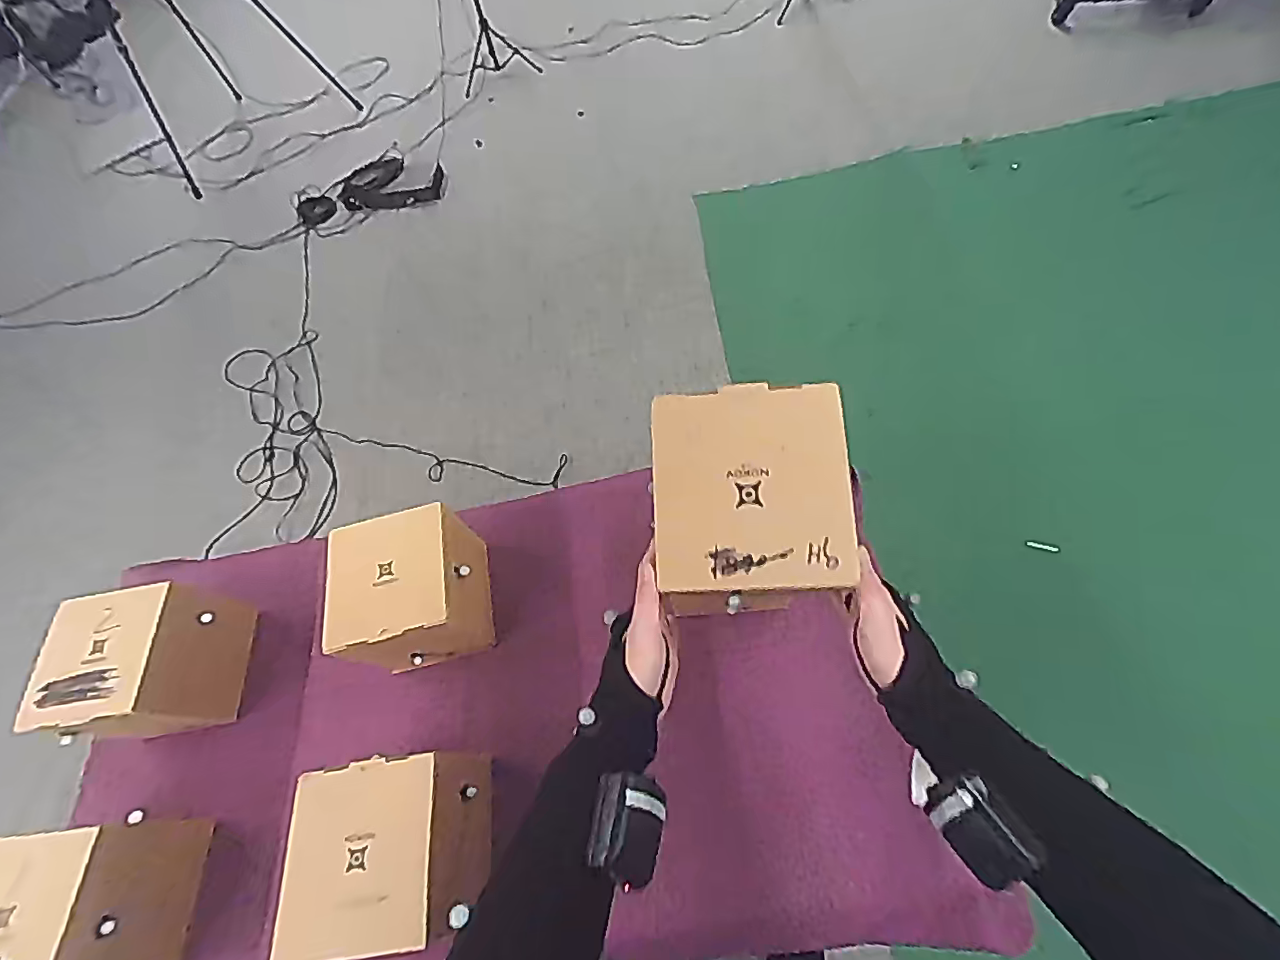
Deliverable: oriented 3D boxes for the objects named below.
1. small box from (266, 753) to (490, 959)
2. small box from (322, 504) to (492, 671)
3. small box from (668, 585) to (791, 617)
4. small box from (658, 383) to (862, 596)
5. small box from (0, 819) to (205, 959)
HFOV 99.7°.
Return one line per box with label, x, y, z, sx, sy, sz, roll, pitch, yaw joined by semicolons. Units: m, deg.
small box;-0.285;0.432;0.635;0.168;0.176;0.179;-10;61;4
small box;-0.327;0.161;0.785;0.168;0.176;0.179;-14;62;0
small box;0.119;0.082;0.759;0.168;0.176;0.179;-6;62;7
small box;0.107;0.022;0.536;0.168;0.176;0.179;-3;76;8
small box;-0.676;0.517;0.643;0.168;0.176;0.179;-8;60;4
